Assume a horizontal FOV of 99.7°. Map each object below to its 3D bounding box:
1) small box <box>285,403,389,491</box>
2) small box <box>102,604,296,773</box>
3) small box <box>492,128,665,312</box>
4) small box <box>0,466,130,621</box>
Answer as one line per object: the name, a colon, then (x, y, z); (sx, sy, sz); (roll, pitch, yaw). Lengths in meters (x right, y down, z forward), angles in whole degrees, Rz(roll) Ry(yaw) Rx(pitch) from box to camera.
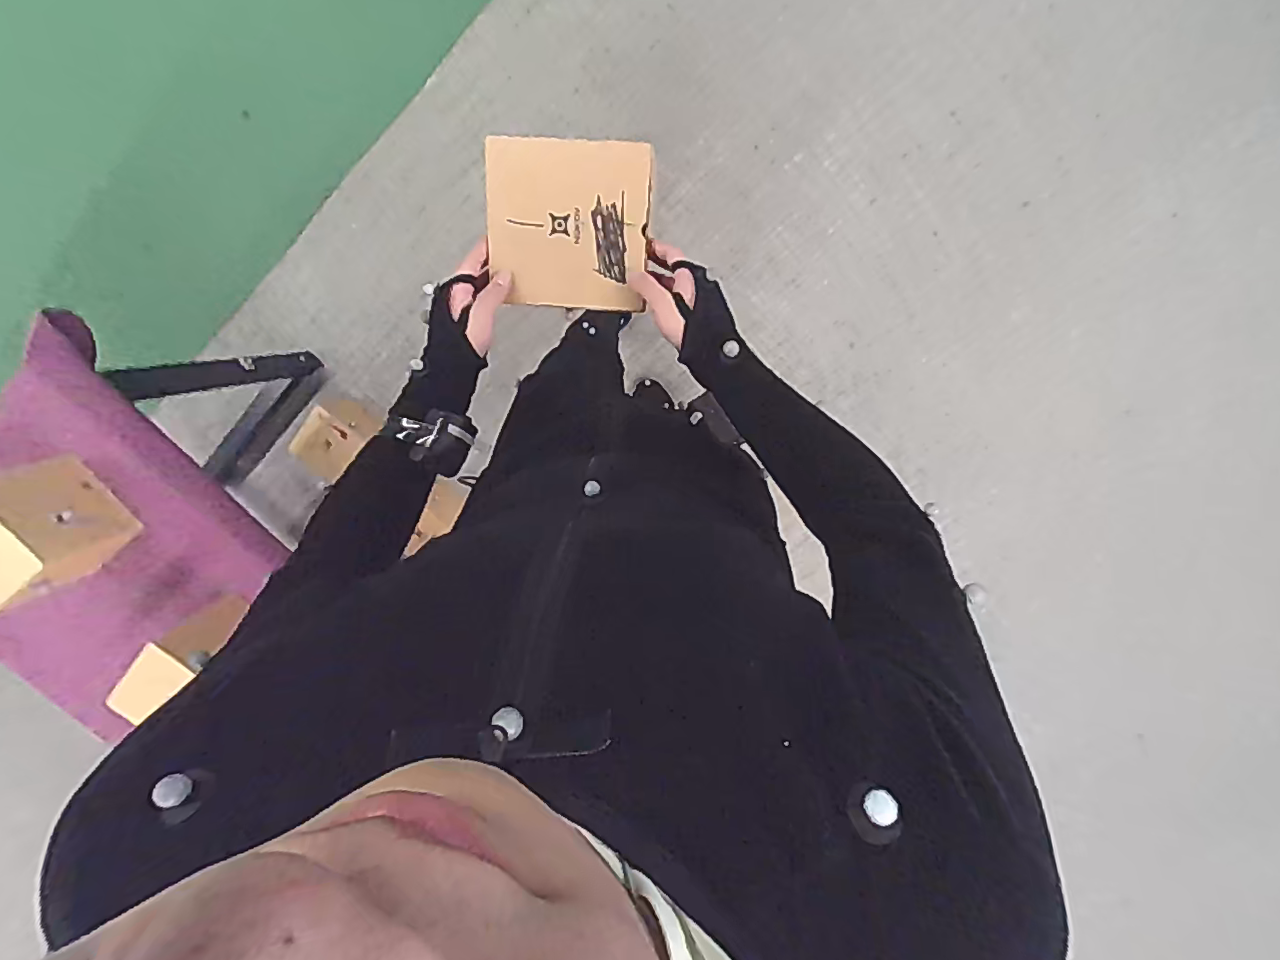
small box: (-0.872, -0.100, 1.577); (0.168, 0.176, 0.179); (41, 105, -7)
small box: (-0.752, 0.355, 0.943); (0.168, 0.176, 0.179); (43, 105, -9)
small box: (-0.065, -0.292, 0.639); (0.179, 0.176, 0.168); (5, 107, 1)
small box: (-1.010, 0.101, 0.889); (0.179, 0.176, 0.168); (-34, 102, 14)
